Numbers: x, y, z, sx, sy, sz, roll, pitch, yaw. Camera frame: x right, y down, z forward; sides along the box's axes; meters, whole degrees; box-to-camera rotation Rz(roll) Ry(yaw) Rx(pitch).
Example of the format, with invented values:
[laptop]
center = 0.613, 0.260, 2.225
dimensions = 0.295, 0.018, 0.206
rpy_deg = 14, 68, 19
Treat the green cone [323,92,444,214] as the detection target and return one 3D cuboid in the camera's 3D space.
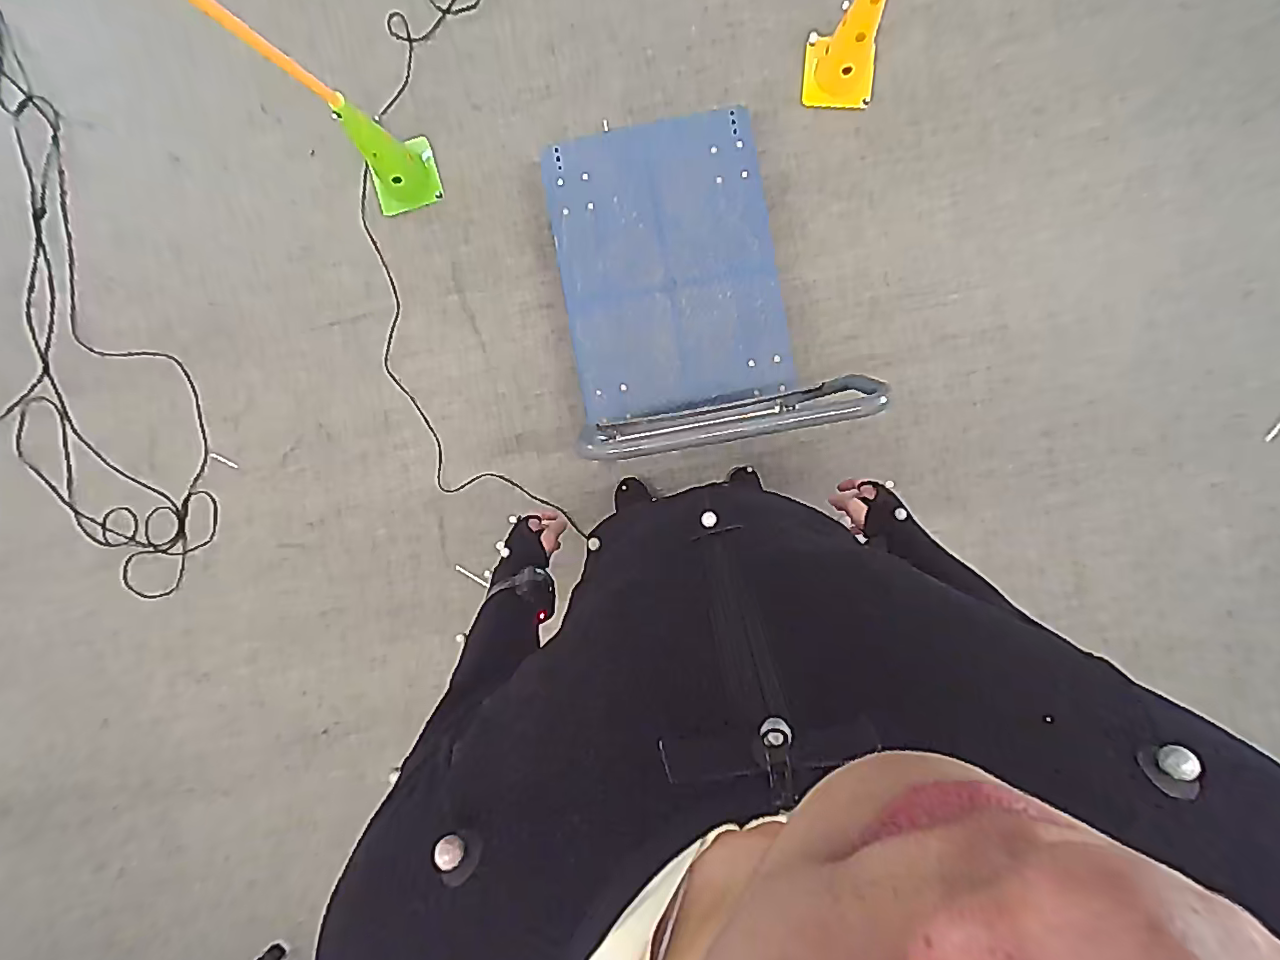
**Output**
[green cone]
center = -0.729, -0.930, 1.483
dimensions = 0.202, 0.368, 0.200
rpy_deg = -17, 90, 5
